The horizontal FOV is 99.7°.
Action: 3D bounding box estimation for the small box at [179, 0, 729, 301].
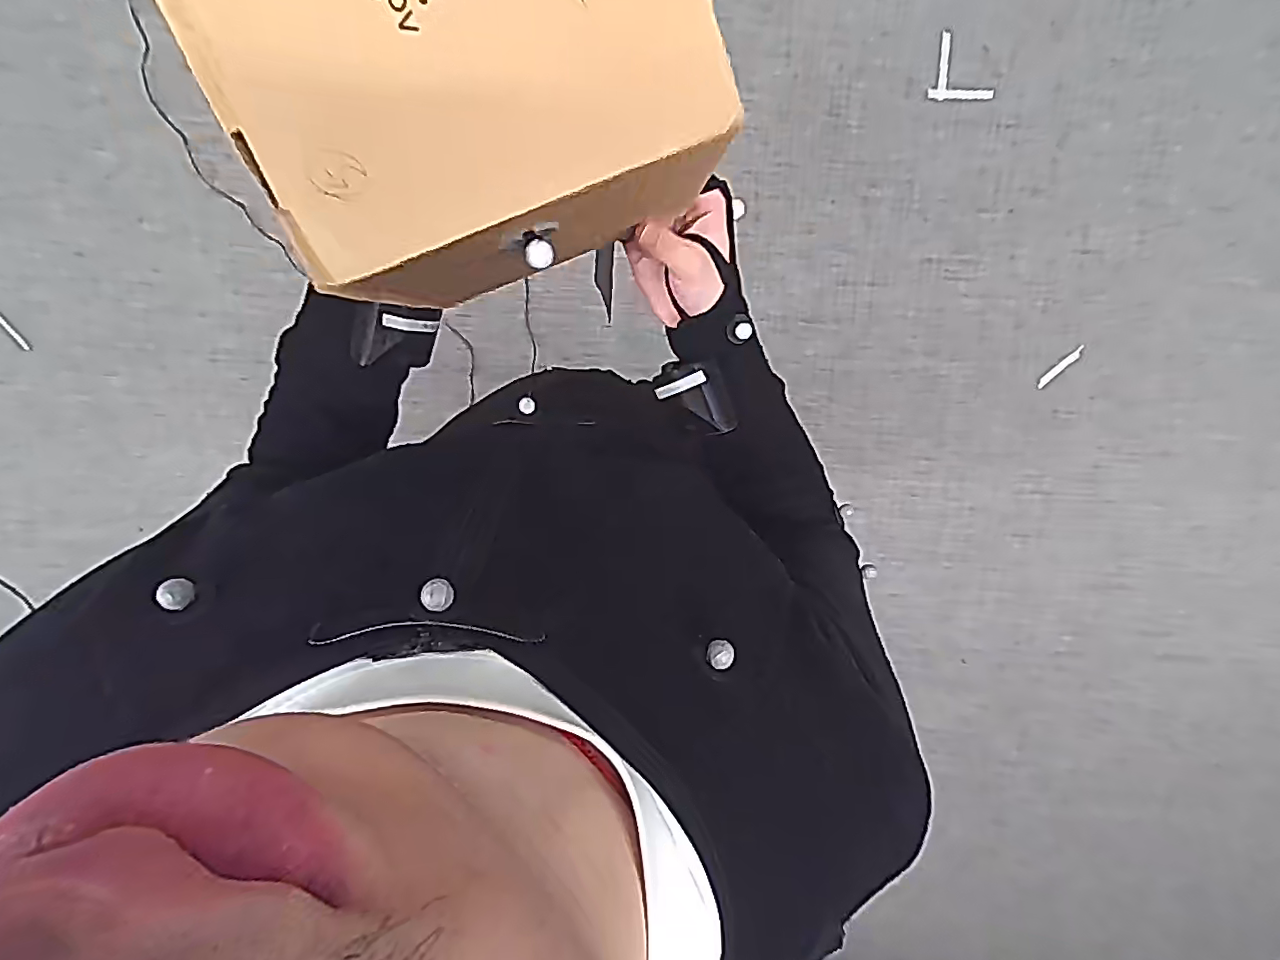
[{"bbox_3d":[-0.076,-0.200,0.271,0.179,0.176,0.168,-22,106,3],"label":"small box"}]
